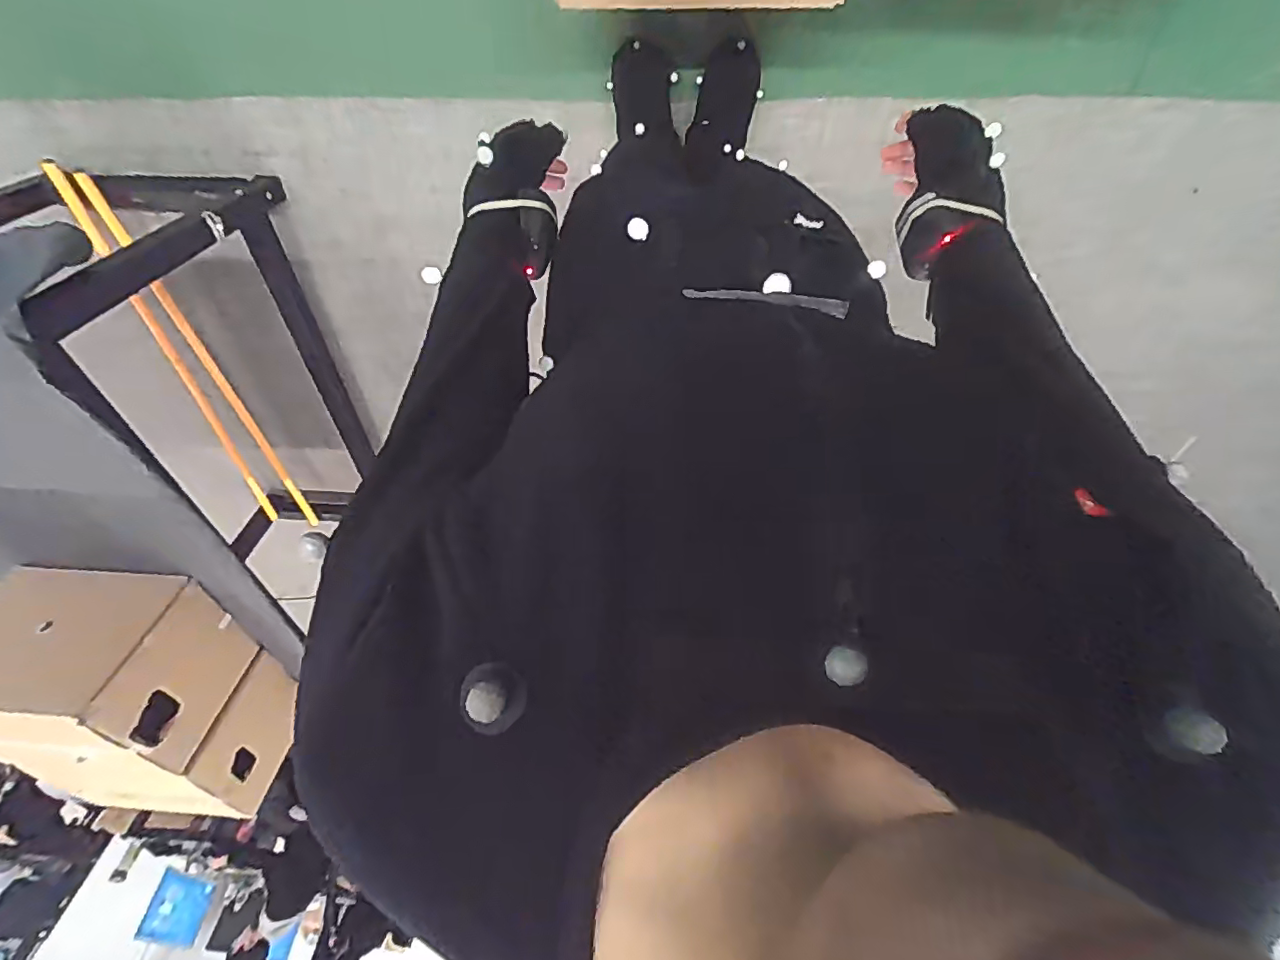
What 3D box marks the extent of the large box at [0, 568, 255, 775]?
[{"bbox_3d":[-1.168,0.405,1.156,0.408,0.320,0.320,2,135,3],"label":"large box"}]
